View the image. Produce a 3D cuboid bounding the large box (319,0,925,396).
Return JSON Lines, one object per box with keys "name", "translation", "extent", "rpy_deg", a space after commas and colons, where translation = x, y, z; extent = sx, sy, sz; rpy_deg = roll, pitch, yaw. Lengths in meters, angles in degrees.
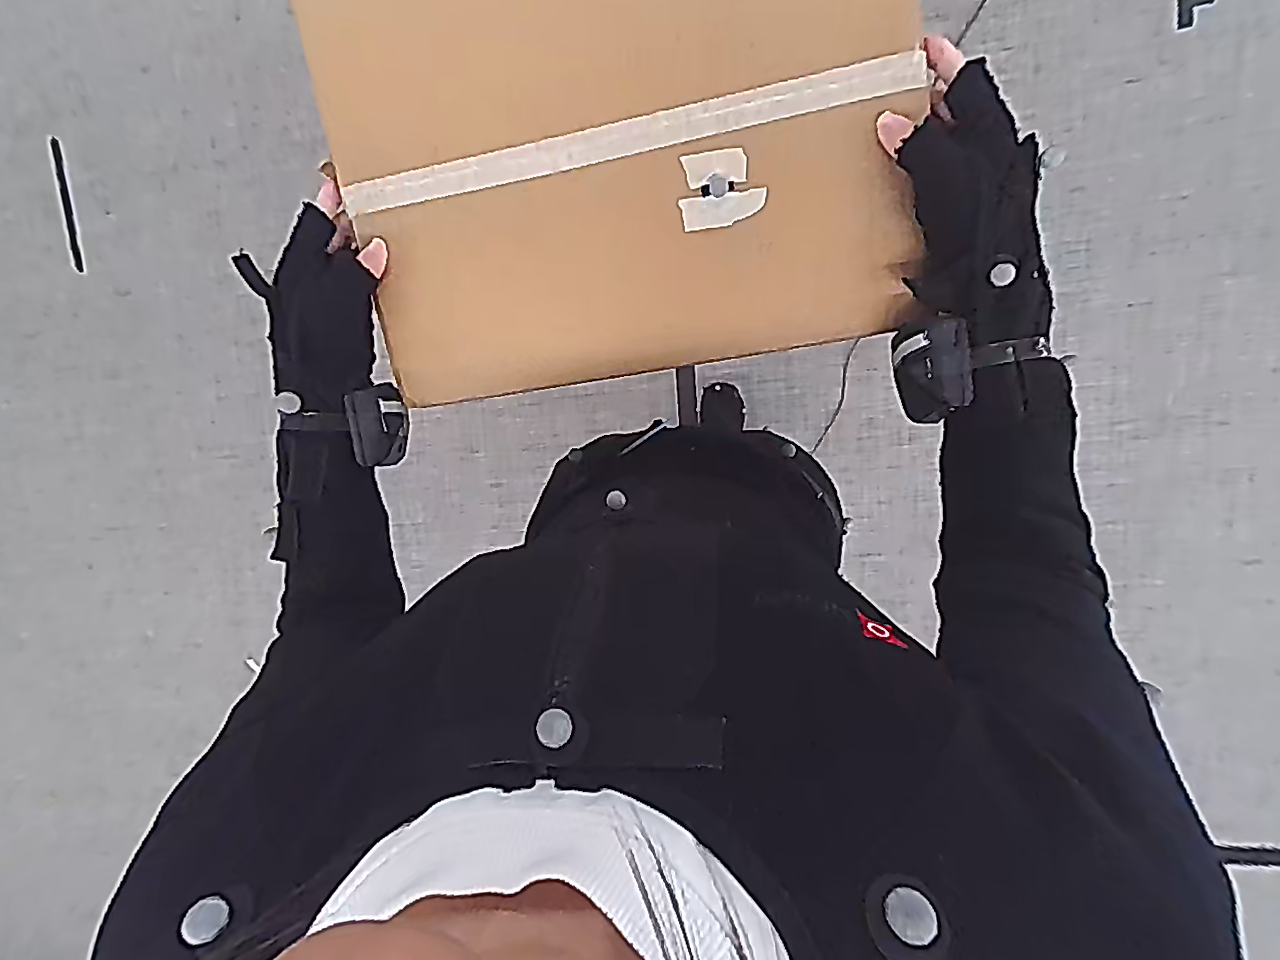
{"name": "large box", "translation": [0.002, -0.280, 0.530], "extent": [0.408, 0.320, 0.320], "rpy_deg": [-8, 104, 8]}
